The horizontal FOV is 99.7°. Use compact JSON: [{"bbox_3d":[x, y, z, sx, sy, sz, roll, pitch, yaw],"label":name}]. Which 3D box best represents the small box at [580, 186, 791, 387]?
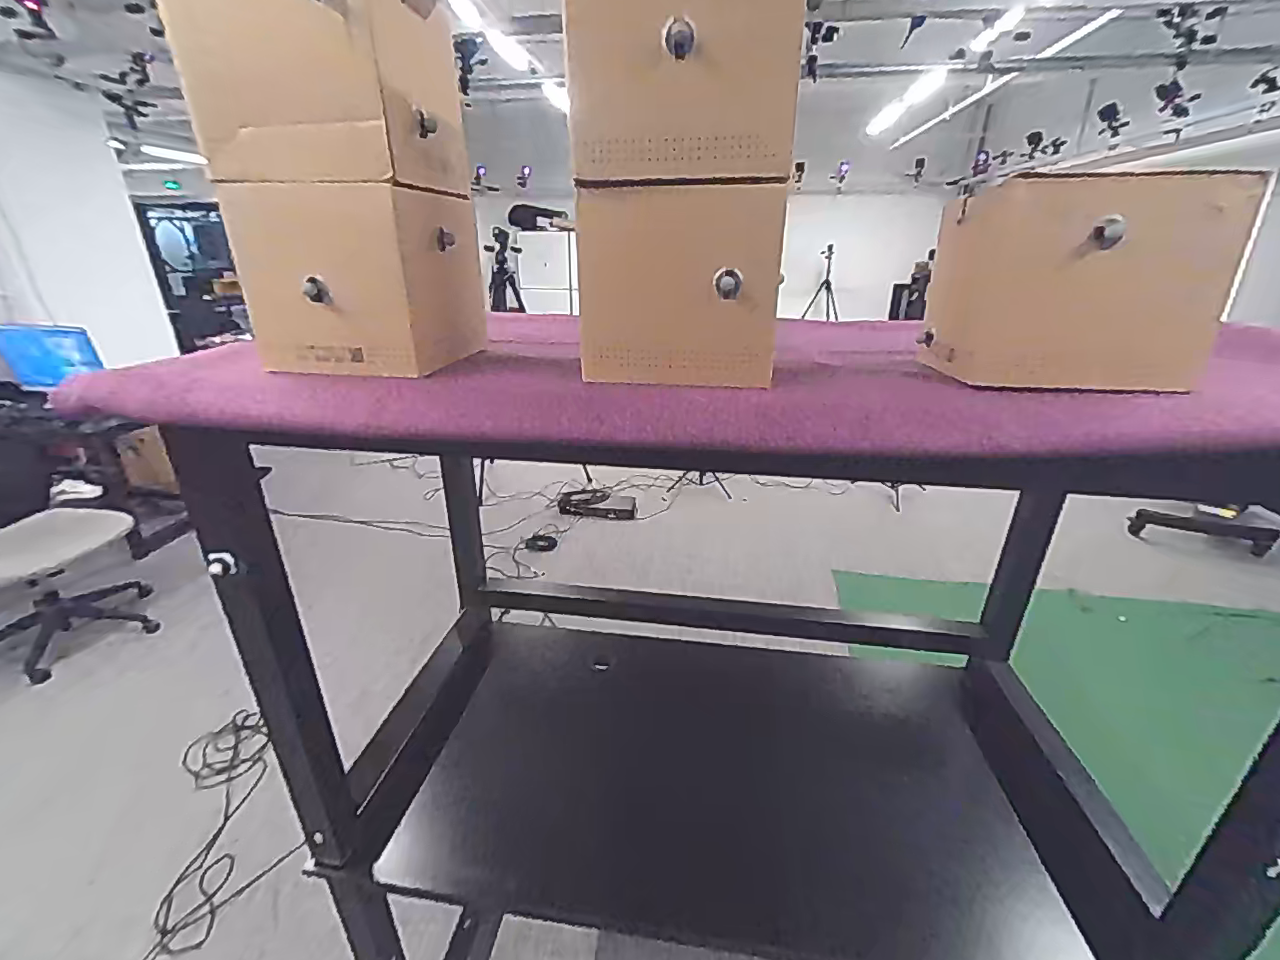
[{"bbox_3d":[0.045,-0.192,0.546,0.179,0.176,0.168,3,22,6],"label":"small box"}]

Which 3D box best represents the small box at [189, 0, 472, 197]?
[{"bbox_3d":[-0.277,-0.363,0.512,0.179,0.176,0.168,3,24,3],"label":"small box"}]

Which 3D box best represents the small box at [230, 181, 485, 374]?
[{"bbox_3d":[-0.274,-0.214,0.576,0.168,0.176,0.179,5,23,5],"label":"small box"}]

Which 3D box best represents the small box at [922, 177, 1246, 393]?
[{"bbox_3d":[0.393,-0.181,0.524,0.179,0.176,0.168,4,20,8],"label":"small box"}]
